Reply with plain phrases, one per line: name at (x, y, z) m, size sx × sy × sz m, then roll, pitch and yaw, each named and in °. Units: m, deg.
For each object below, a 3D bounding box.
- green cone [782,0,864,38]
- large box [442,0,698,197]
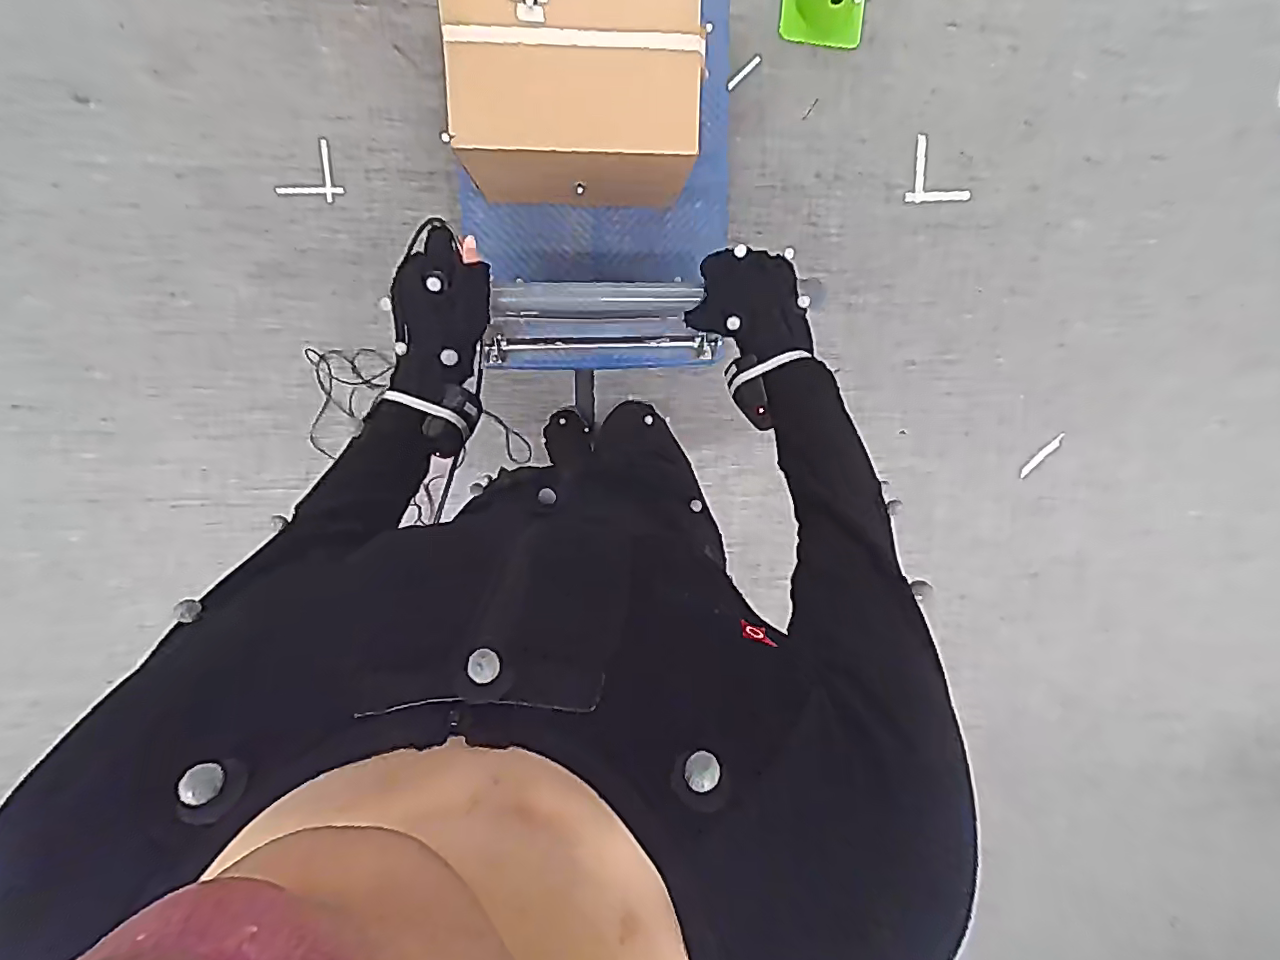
green cone at (0.454, -1.127, 1.104) m, size 0.202 × 0.368 × 0.200 m, roll 3°, pitch 102°, yaw -7°
large box at (-0.114, -0.726, 0.994) m, size 0.408 × 0.320 × 0.320 m, roll -1°, pitch 102°, yaw -4°
